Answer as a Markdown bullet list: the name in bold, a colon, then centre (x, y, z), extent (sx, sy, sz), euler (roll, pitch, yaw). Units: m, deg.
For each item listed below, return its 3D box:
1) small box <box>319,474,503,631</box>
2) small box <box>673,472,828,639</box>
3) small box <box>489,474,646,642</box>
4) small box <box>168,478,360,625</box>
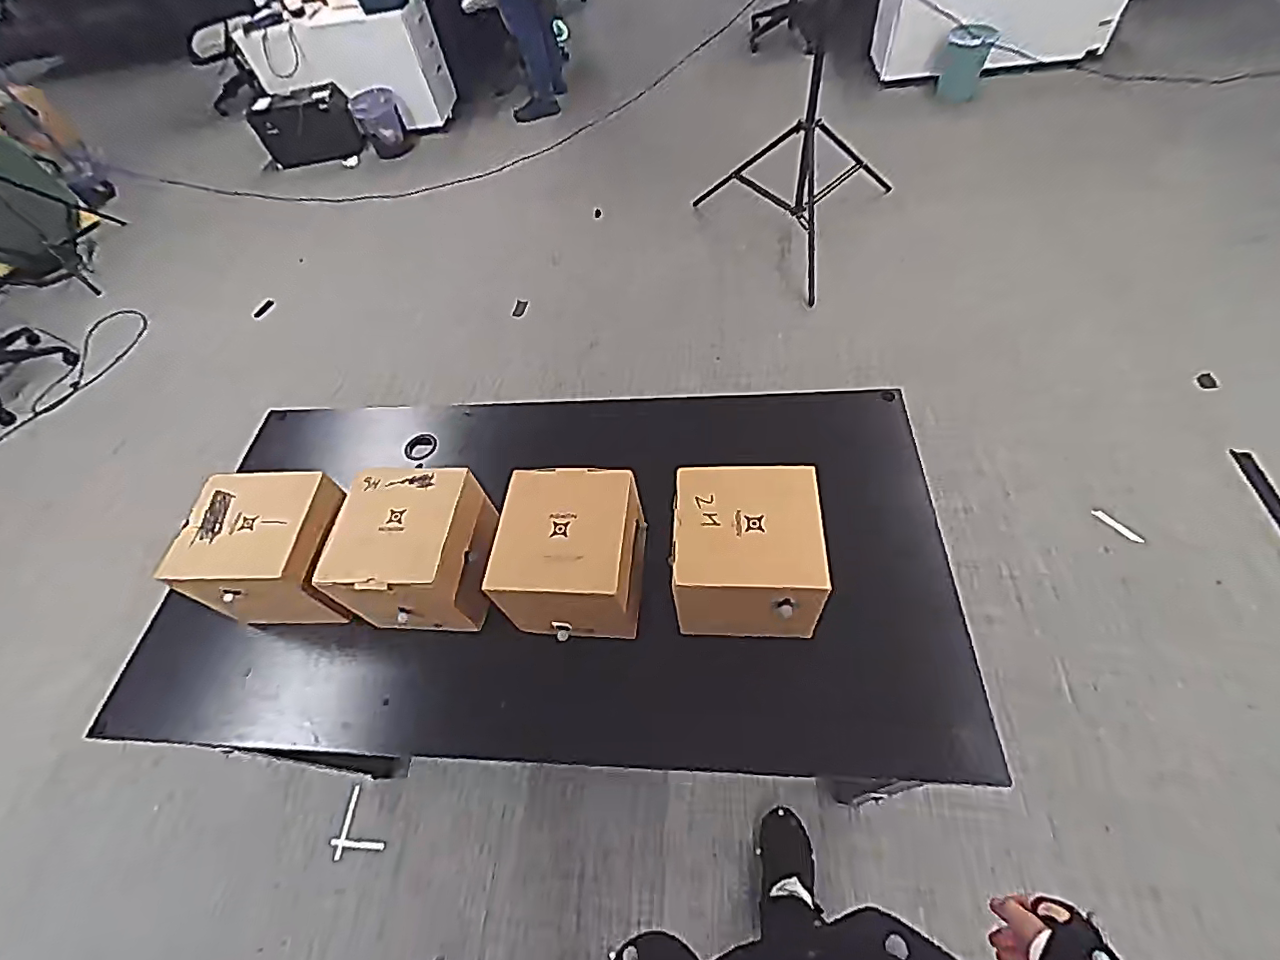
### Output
- **small box**: centre (-0.310, 0.109, 0.781), extent (0.168, 0.176, 0.179), euler (0, 56, 9)
- **small box**: centre (0.138, 0.103, 0.718), extent (0.179, 0.176, 0.168), euler (0, 55, 8)
- **small box**: centre (-0.086, 0.110, 0.750), extent (0.168, 0.176, 0.179), euler (-1, 56, 9)
- **small box**: centre (-0.523, 0.112, 0.808), extent (0.179, 0.176, 0.168), euler (-2, 56, 6)
